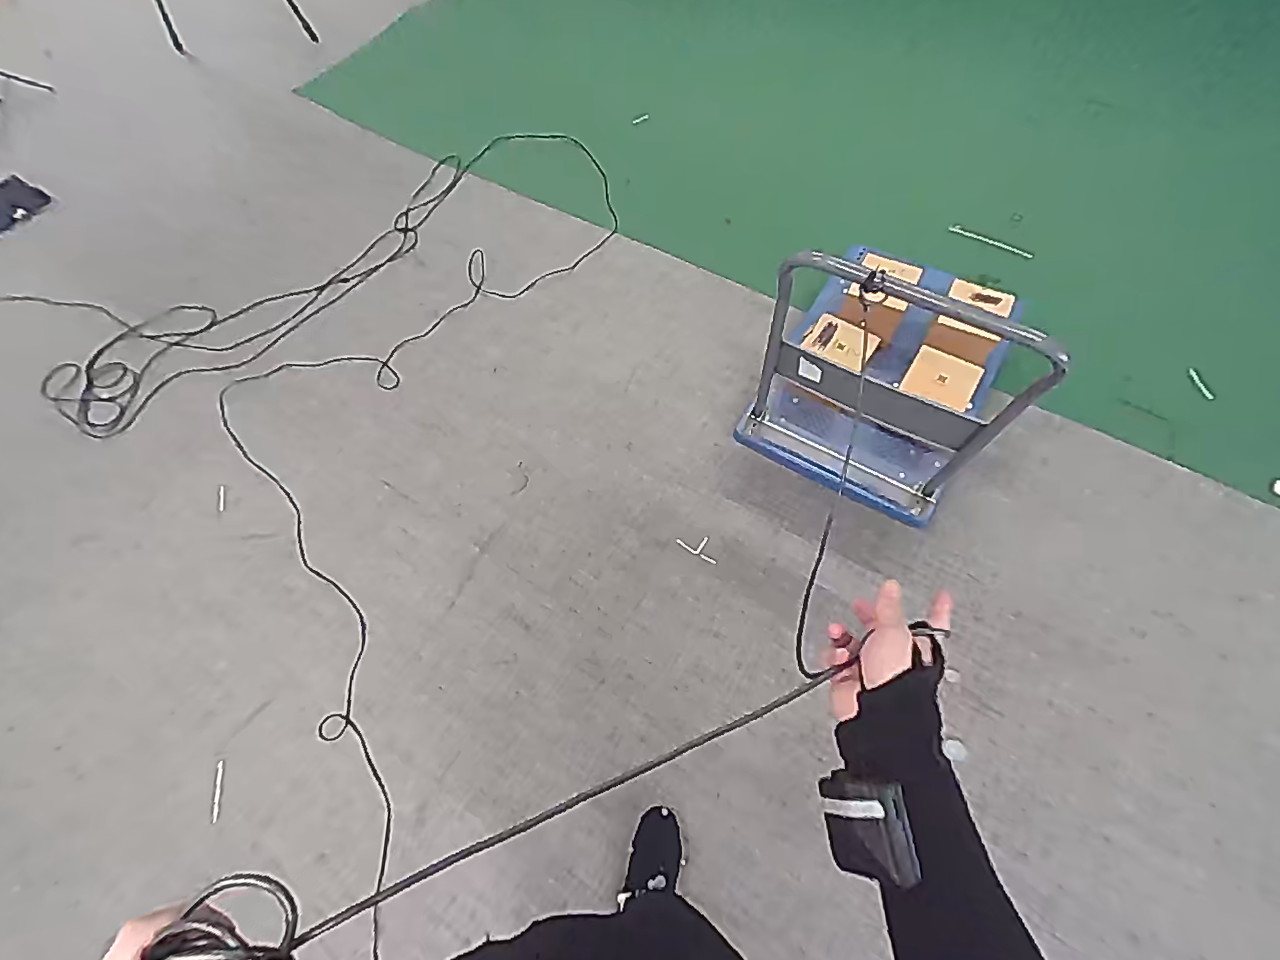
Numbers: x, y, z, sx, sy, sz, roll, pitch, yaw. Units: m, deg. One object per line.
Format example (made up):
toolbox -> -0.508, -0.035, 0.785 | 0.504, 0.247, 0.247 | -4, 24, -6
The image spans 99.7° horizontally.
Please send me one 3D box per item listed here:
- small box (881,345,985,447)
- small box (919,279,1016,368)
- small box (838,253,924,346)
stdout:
small box -> 0.785, -0.224, 1.467 | 0.168, 0.176, 0.179 | 30, 71, 17
small box -> 0.933, -0.433, 1.553 | 0.168, 0.176, 0.179 | 25, 70, 16
small box -> 0.713, -0.536, 1.621 | 0.168, 0.176, 0.179 | 26, 69, 15
